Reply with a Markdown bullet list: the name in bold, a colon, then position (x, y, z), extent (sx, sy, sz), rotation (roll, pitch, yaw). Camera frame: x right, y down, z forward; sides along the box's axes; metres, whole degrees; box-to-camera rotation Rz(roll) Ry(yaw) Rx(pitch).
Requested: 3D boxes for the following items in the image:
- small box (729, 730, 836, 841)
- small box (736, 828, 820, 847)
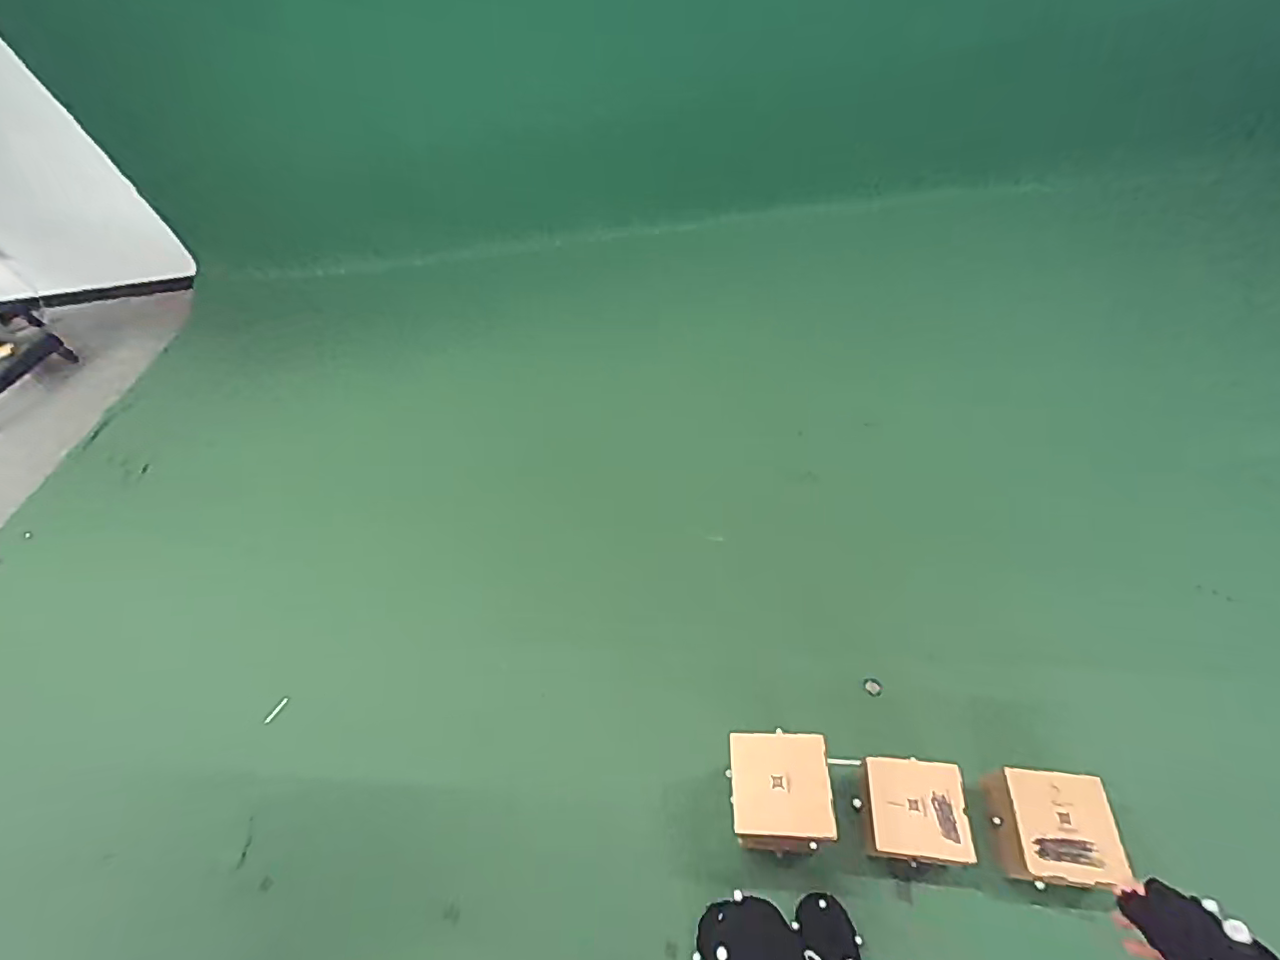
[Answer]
- **small box**: position (0.268, 0.589, 1.040), extent (0.179, 0.176, 0.168), rotation (-4, 53, 10)
- **small box**: position (0.293, 0.684, 1.171), extent (0.168, 0.176, 0.179), rotation (-2, 55, 11)
